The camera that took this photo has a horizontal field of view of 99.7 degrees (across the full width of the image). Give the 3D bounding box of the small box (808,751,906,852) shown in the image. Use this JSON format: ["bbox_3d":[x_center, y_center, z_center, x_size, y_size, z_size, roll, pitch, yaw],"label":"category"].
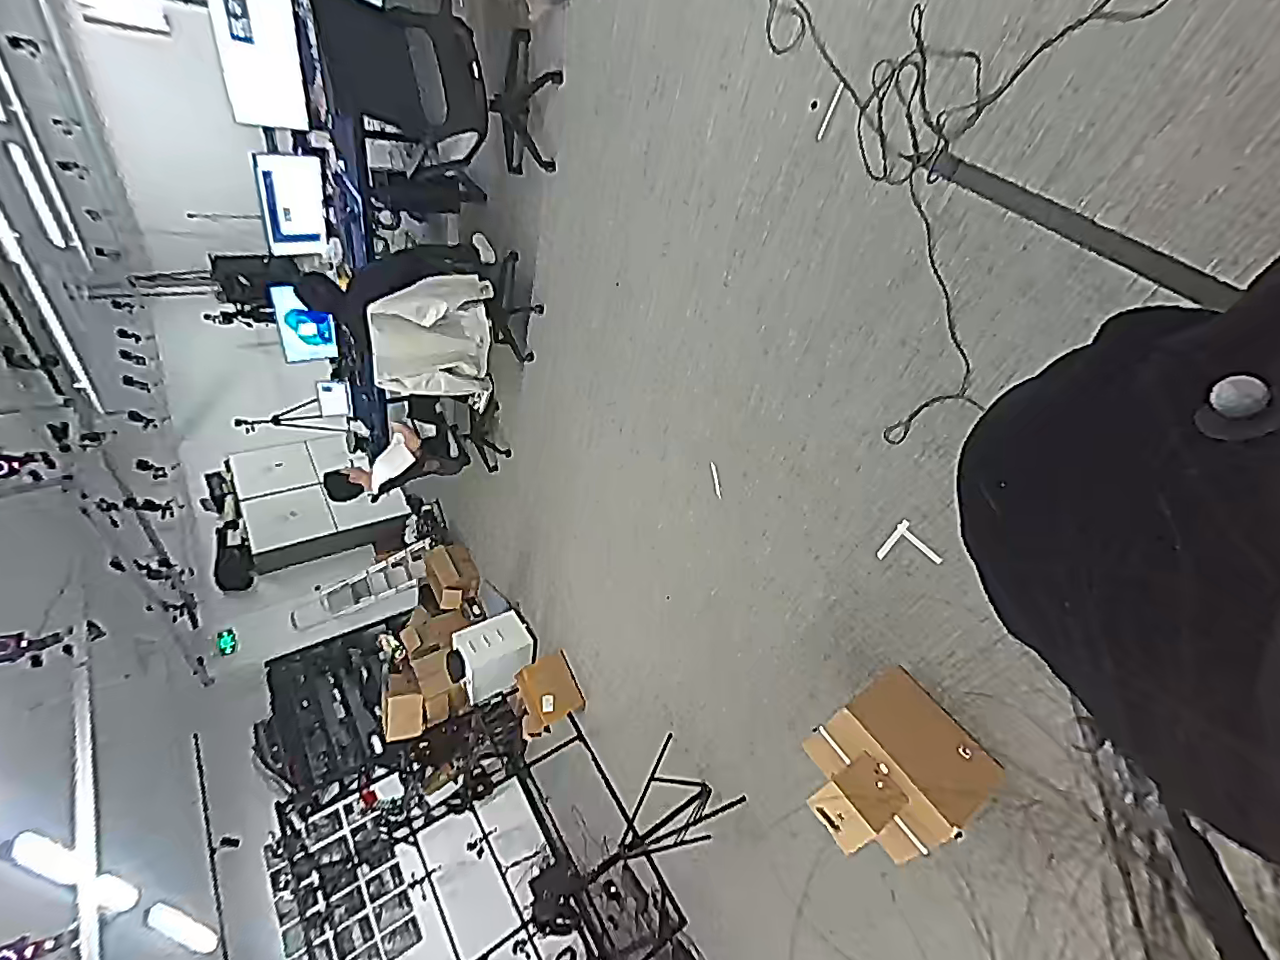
[{"bbox_3d":[0.635,0.934,1.578,0.168,0.176,0.179,48,138,32],"label":"small box"}]
